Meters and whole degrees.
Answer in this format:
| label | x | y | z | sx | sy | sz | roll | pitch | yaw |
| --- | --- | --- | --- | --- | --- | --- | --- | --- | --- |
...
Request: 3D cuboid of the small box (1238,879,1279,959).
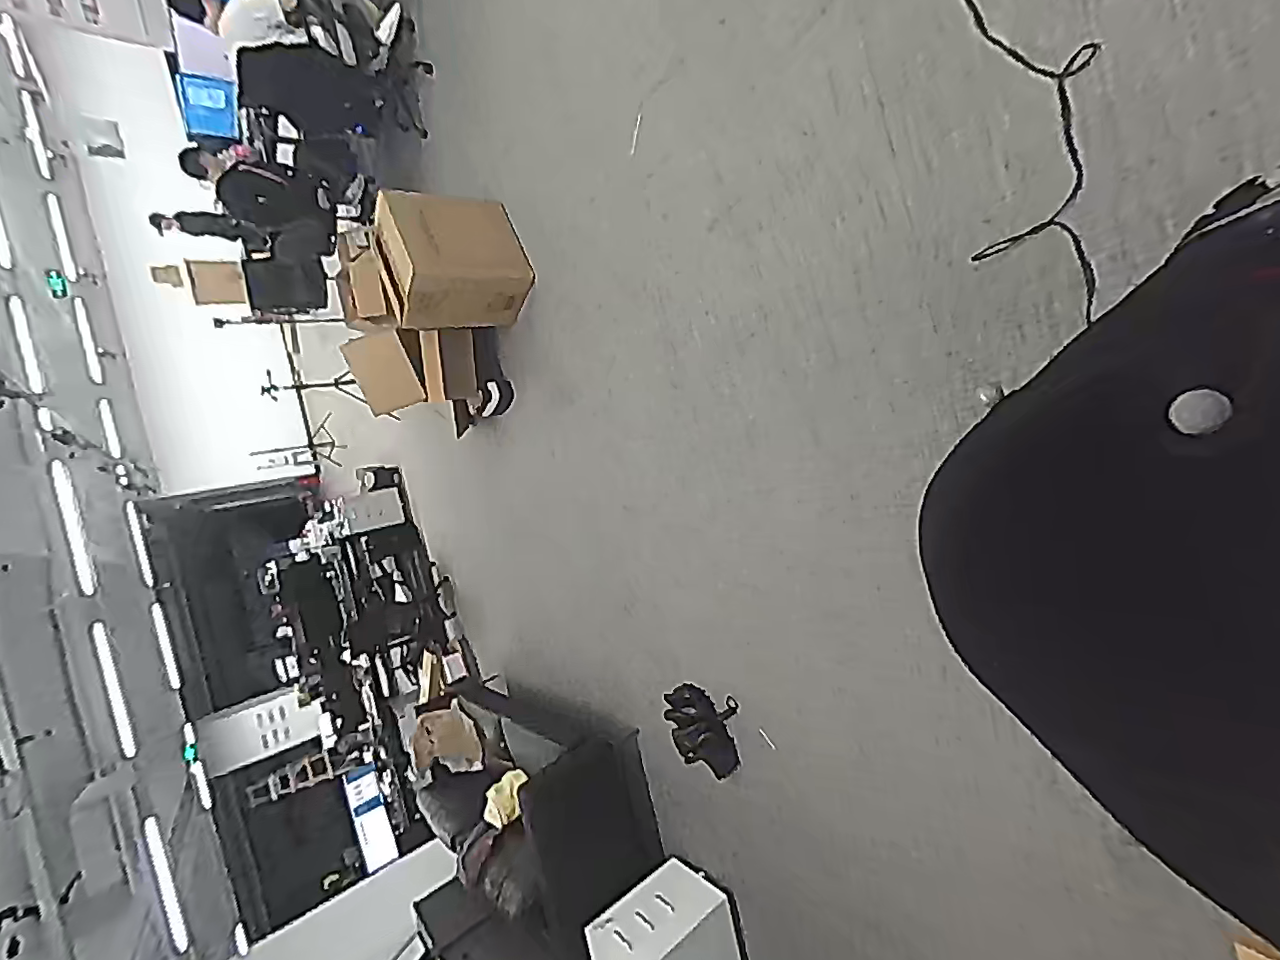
| label | x | y | z | sx | sy | sz | roll | pitch | yaw |
| --- | --- | --- | --- | --- | --- | --- | --- | --- | --- |
| small box | 1.128 | 0.806 | 0.884 | 0.179 | 0.176 | 0.168 | -6 | 97 | 54 |
